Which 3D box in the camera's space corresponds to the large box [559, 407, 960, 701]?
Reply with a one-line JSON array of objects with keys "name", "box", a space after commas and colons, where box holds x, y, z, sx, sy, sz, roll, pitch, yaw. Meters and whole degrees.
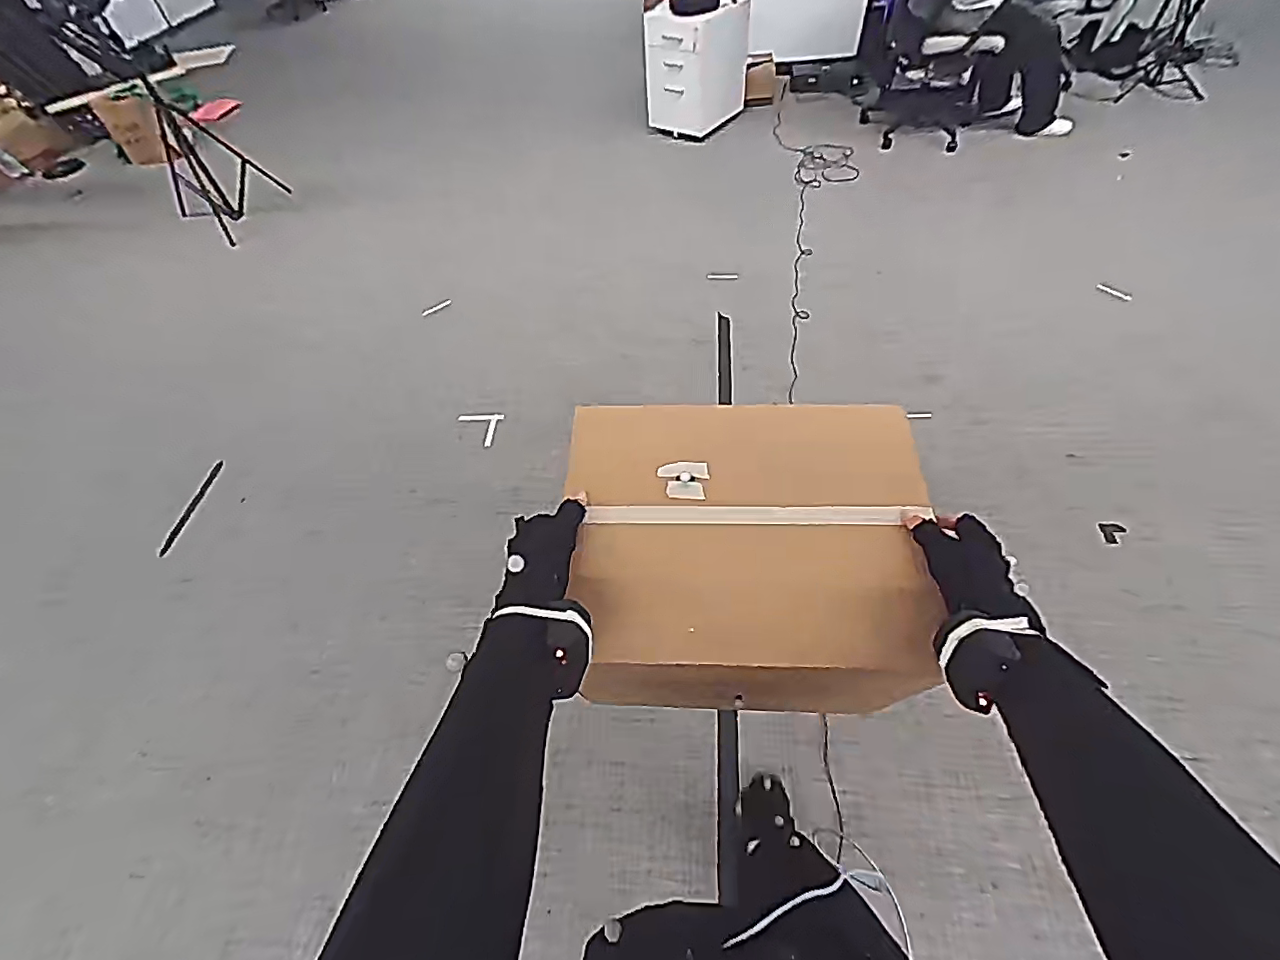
[{"name": "large box", "box": [0.129, 0.118, 0.738, 0.408, 0.320, 0.320, 0, 59, 4]}]
